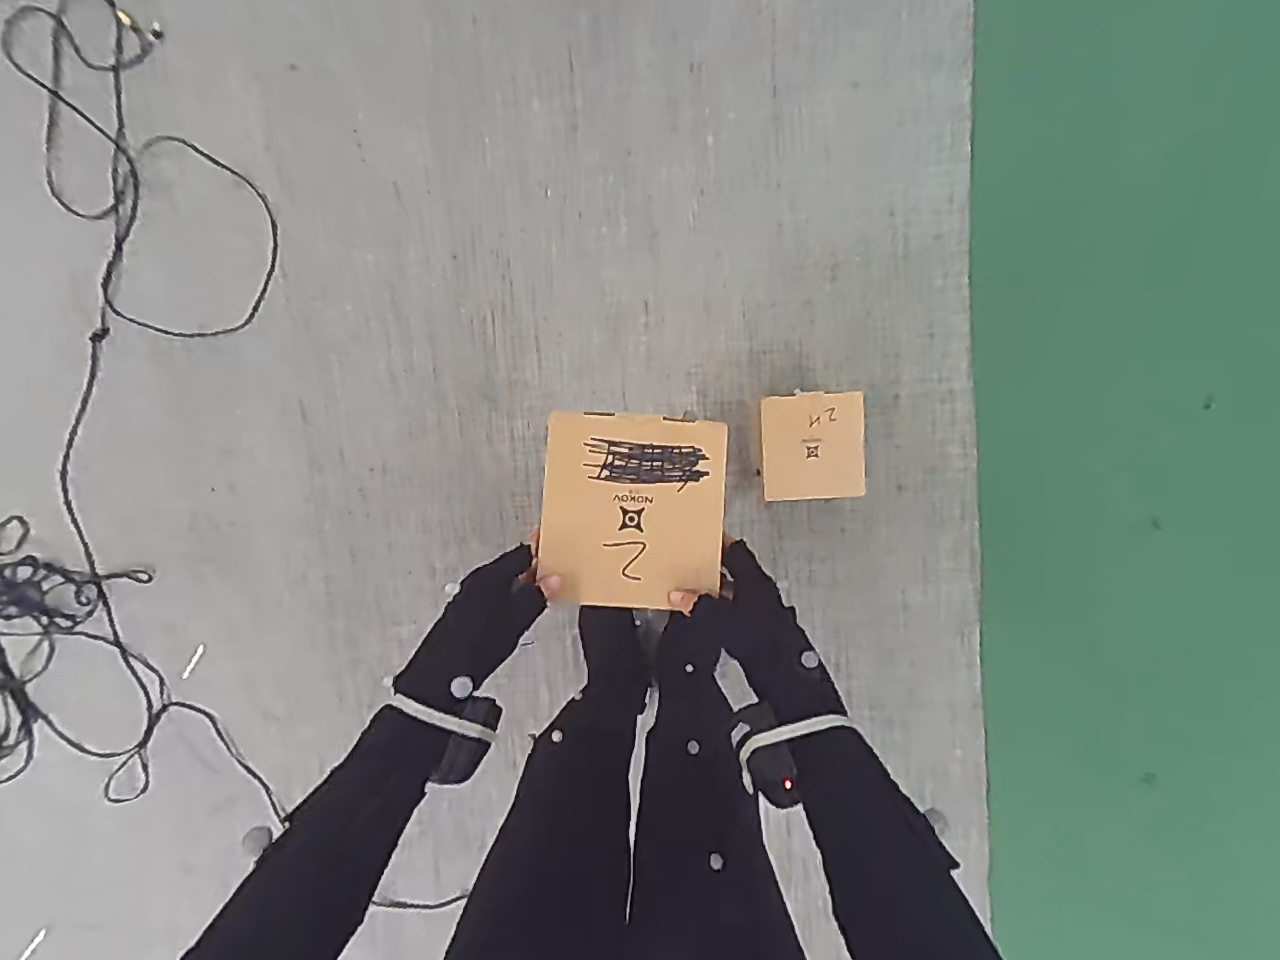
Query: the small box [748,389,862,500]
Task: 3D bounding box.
[{"bbox_3d":[0.286,-0.065,0.961,0.168,0.176,0.179,-3,94,5],"label":"small box"}]
